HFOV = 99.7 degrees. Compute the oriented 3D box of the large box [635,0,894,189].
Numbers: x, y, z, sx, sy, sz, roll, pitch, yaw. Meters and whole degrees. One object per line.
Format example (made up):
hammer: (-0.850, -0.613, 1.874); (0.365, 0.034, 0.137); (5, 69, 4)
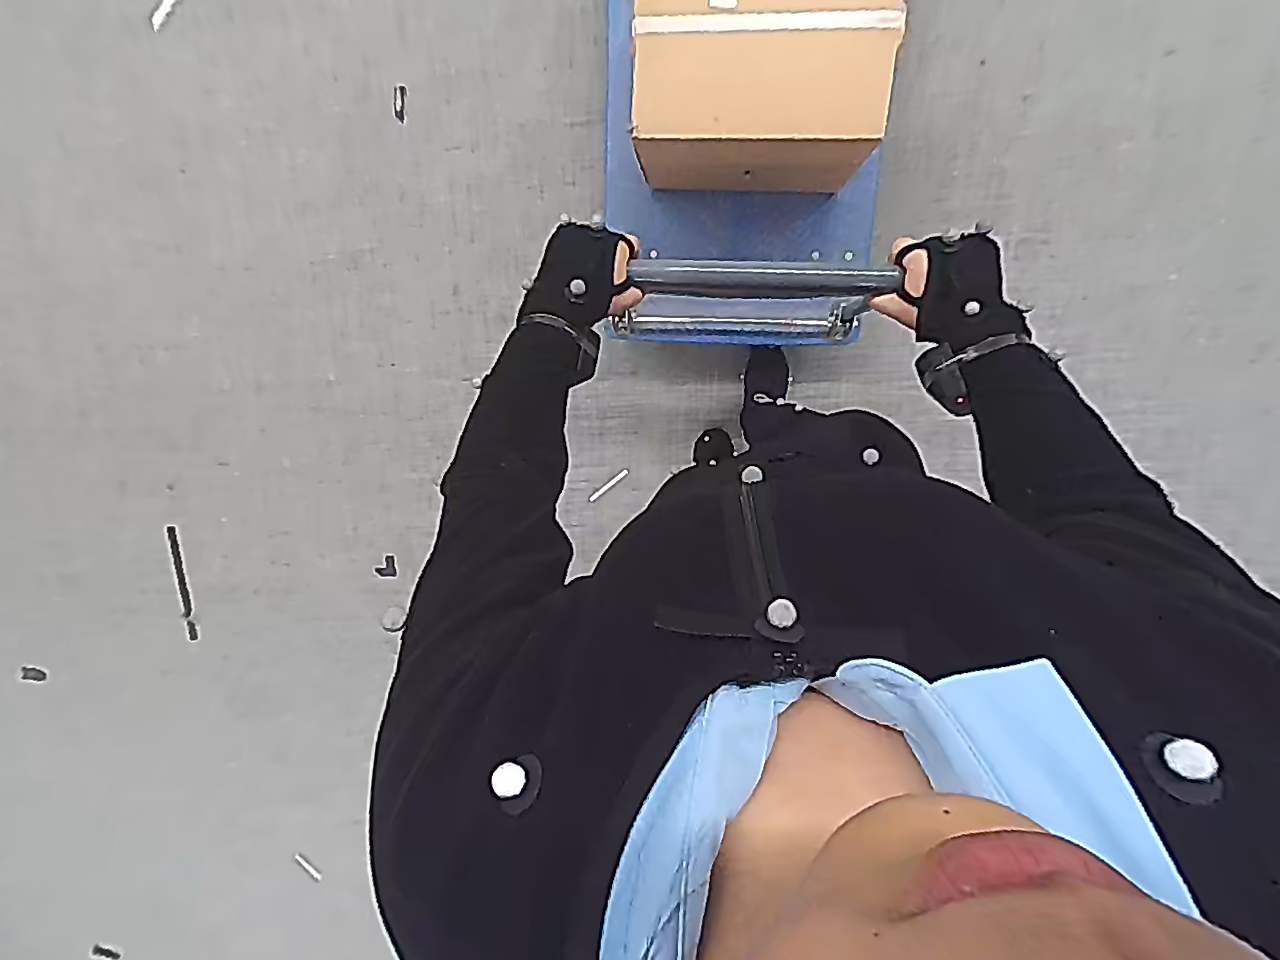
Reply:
large box: (0.212, -0.746, 0.998); (0.408, 0.320, 0.320); (4, 103, 7)
